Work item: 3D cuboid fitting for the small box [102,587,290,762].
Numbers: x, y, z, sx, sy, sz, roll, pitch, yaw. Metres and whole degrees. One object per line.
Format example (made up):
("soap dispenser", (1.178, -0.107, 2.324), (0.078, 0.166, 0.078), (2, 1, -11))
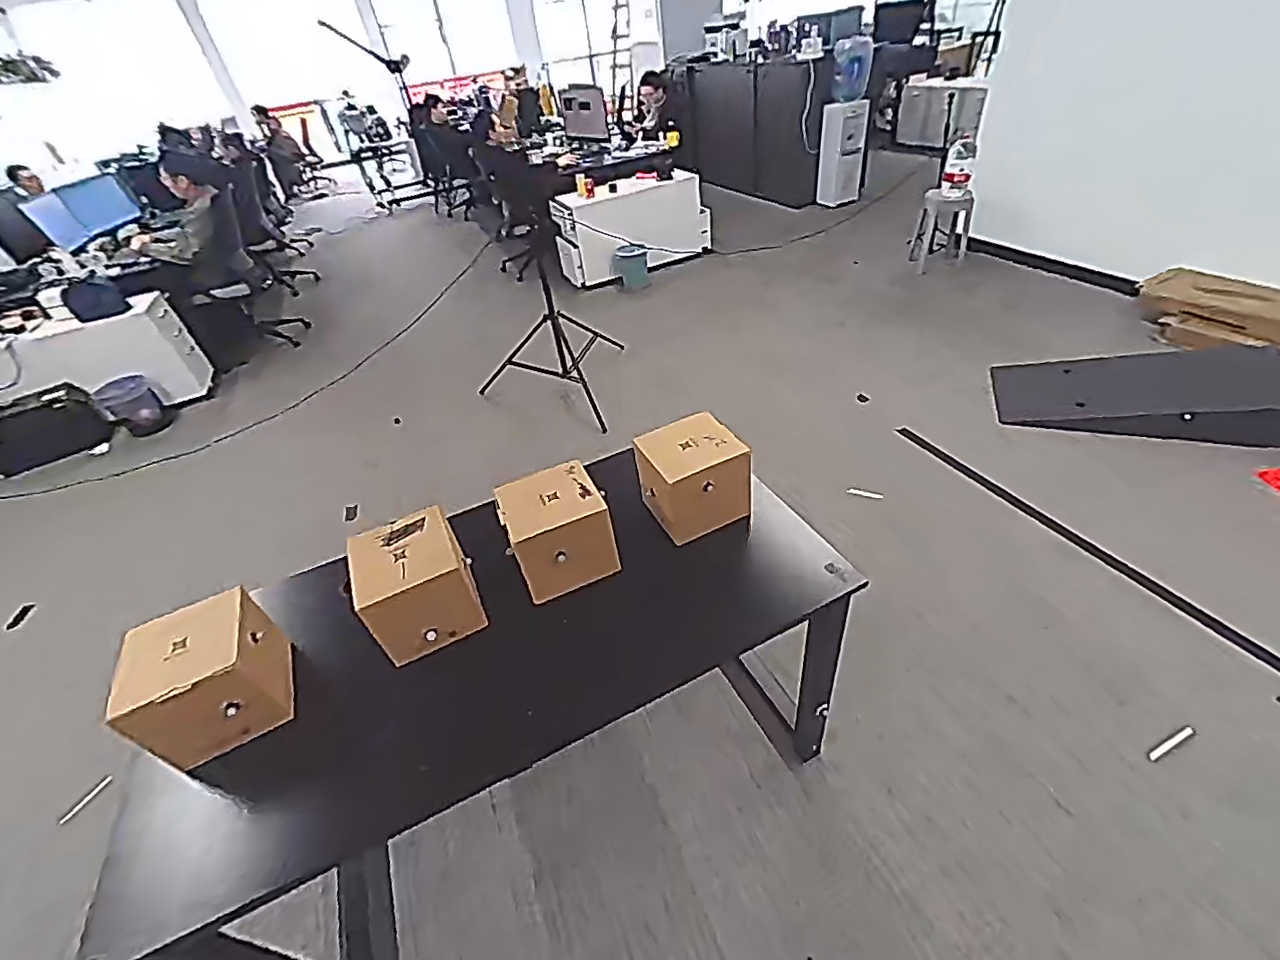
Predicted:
("small box", (-0.682, 0.312, 0.857), (0.168, 0.176, 0.179), (-24, 41, -19))

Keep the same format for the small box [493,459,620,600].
("small box", (-0.154, 0.095, 1.018), (0.179, 0.176, 0.168), (-21, 41, -13))

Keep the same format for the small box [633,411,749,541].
("small box", (0.106, -0.006, 1.085), (0.179, 0.176, 0.168), (-22, 42, -14))

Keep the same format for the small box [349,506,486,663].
("small box", (-0.391, 0.183, 0.955), (0.168, 0.176, 0.179), (-23, 43, -16))
